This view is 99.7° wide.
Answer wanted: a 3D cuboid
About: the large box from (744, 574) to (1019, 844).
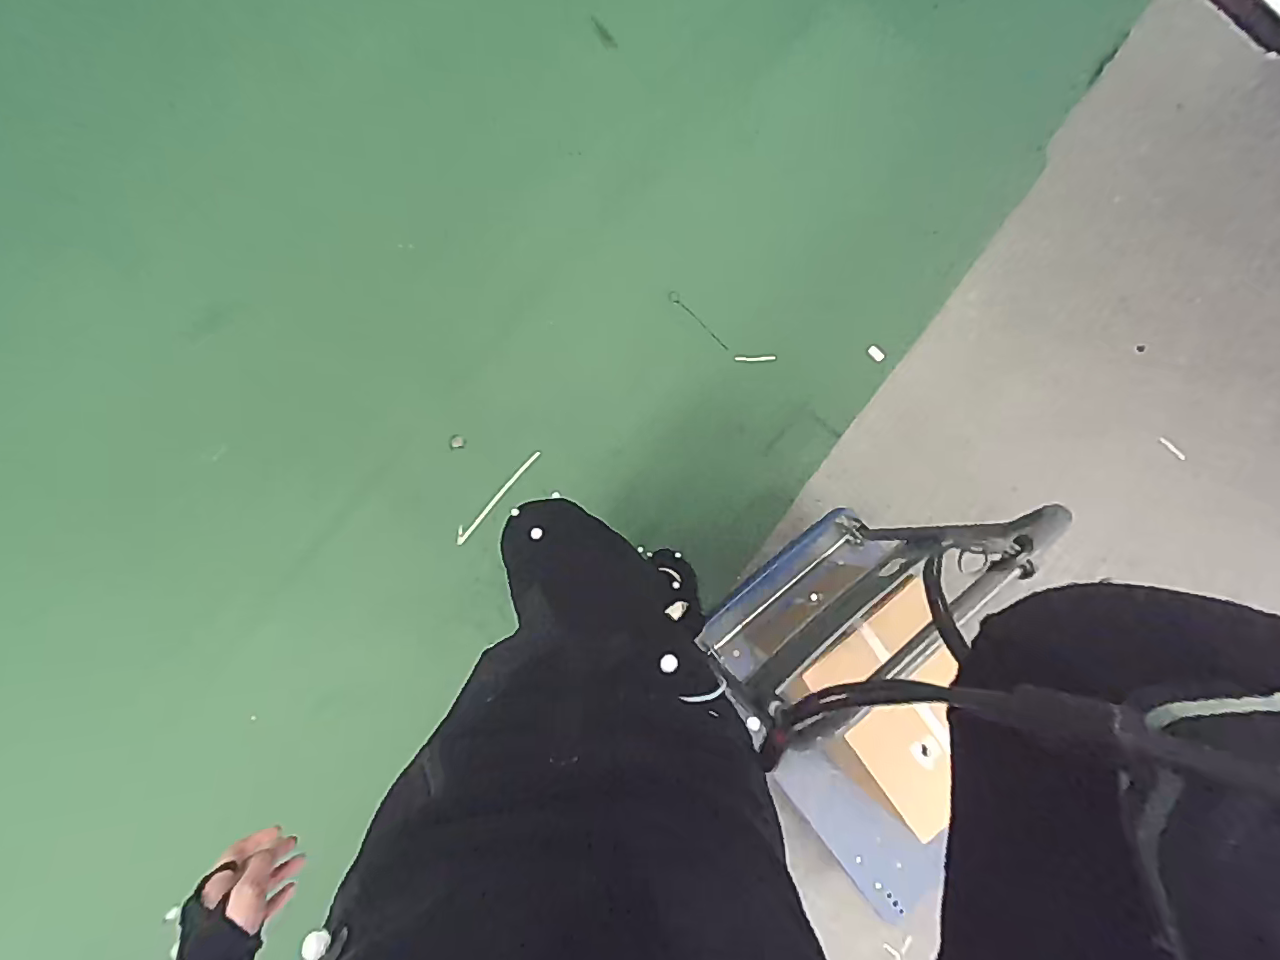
[{"bbox_3d":[0.505,0.467,1.203,0.320,0.320,0.408,-35,91,-9],"label":"large box"}]
